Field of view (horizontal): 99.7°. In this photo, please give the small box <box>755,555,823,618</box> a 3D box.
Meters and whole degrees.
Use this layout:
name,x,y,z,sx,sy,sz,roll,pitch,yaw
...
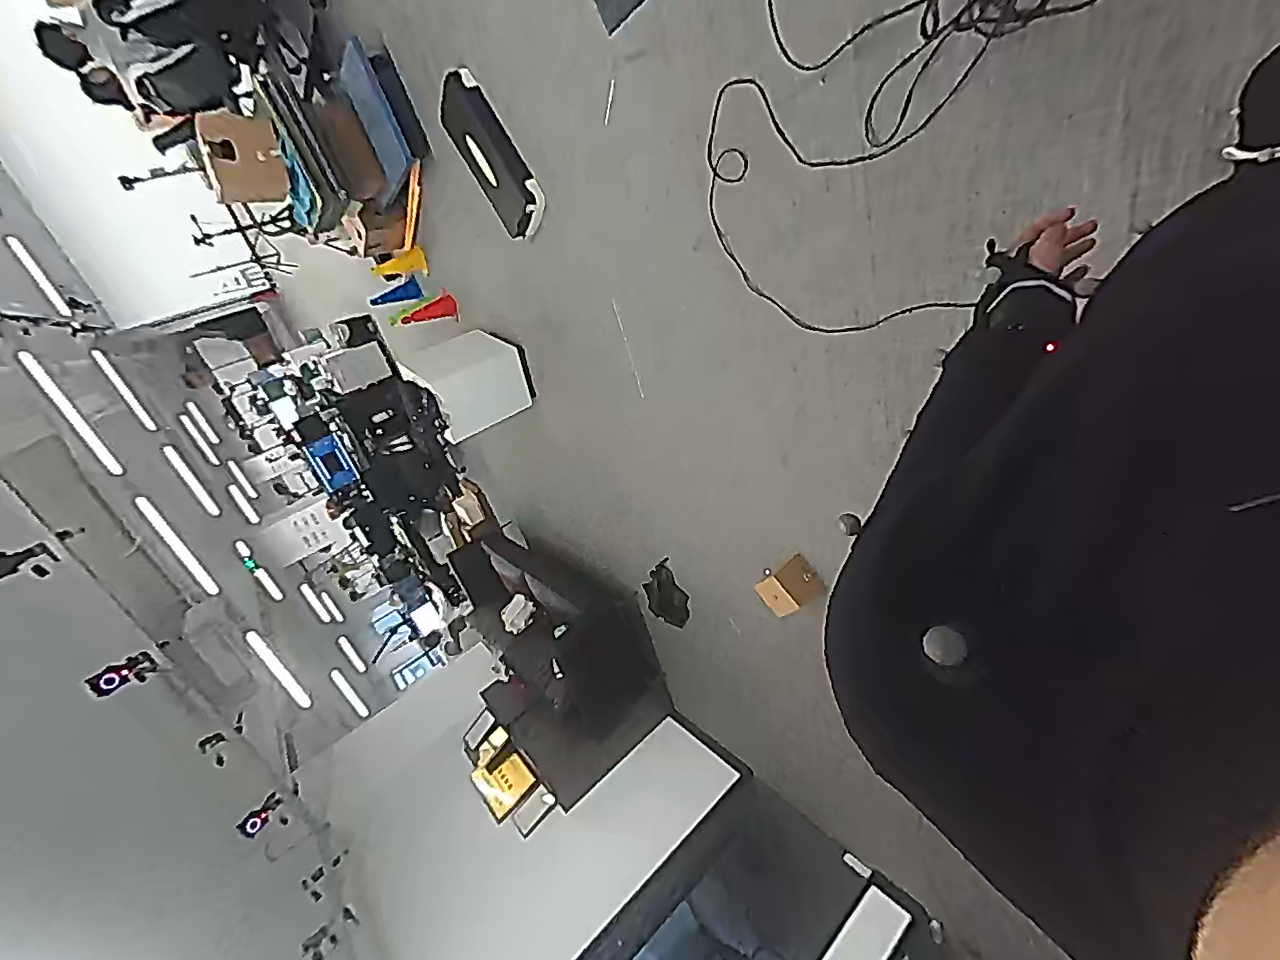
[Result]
name,x,y,z,sx,sy,sz,roll,pitch,yaw
small box,0.615,0.436,2.217,0.168,0.176,0.179,50,151,11
